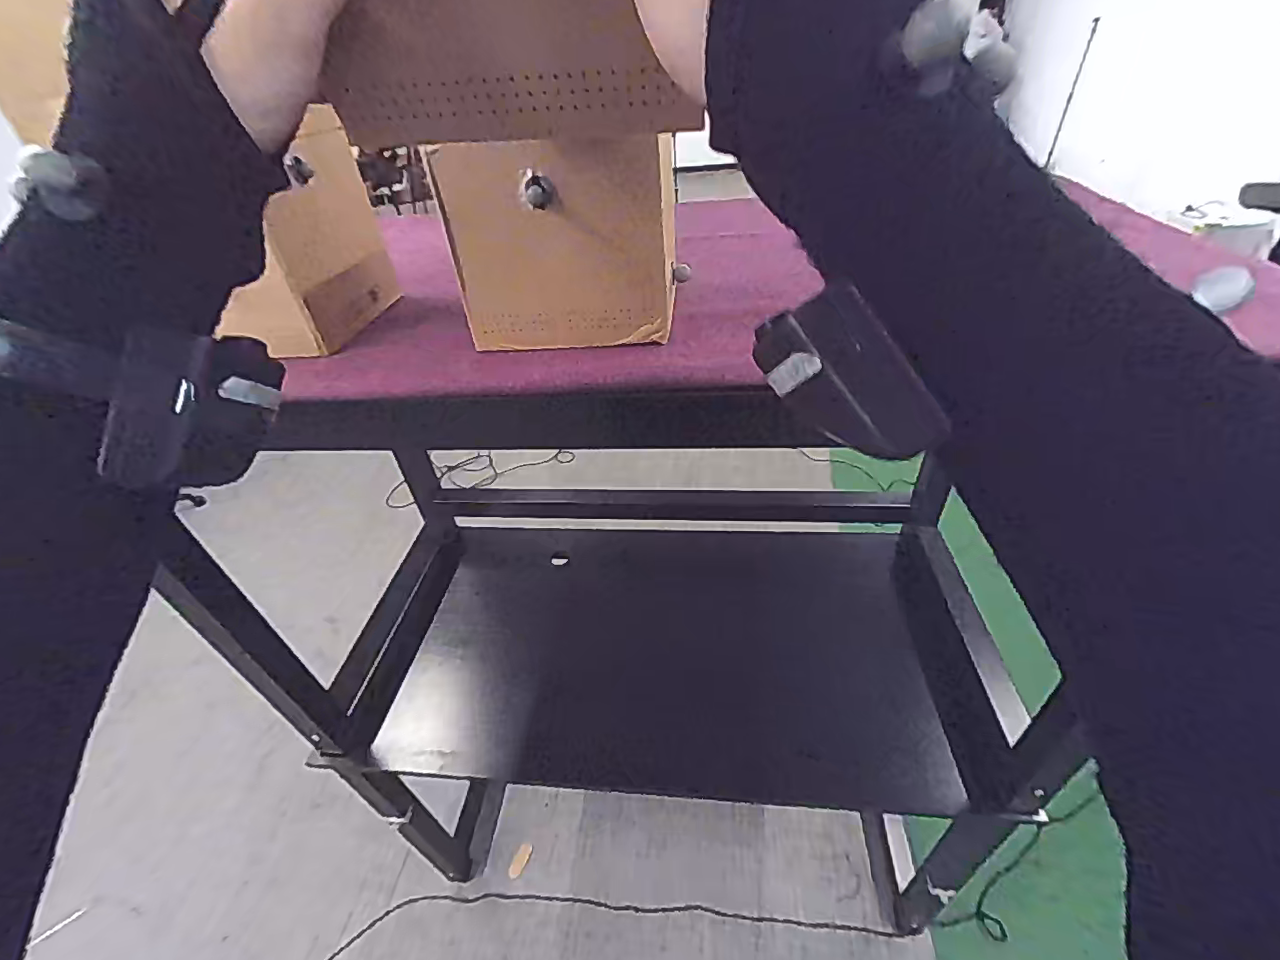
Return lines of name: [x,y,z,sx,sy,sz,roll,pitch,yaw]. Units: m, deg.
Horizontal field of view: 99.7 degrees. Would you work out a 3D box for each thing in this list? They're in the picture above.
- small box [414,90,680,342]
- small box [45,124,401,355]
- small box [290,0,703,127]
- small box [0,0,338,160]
small box: [-0.060,-0.231,0.481,0.179,0.176,0.168,-1,38,8]
small box: [-0.373,-0.231,0.526,0.179,0.176,0.168,-2,38,7]
small box: [-0.060,-0.282,0.224,0.179,0.176,0.168,0,63,7]
small box: [-0.388,-0.362,0.429,0.179,0.176,0.168,-1,38,6]
